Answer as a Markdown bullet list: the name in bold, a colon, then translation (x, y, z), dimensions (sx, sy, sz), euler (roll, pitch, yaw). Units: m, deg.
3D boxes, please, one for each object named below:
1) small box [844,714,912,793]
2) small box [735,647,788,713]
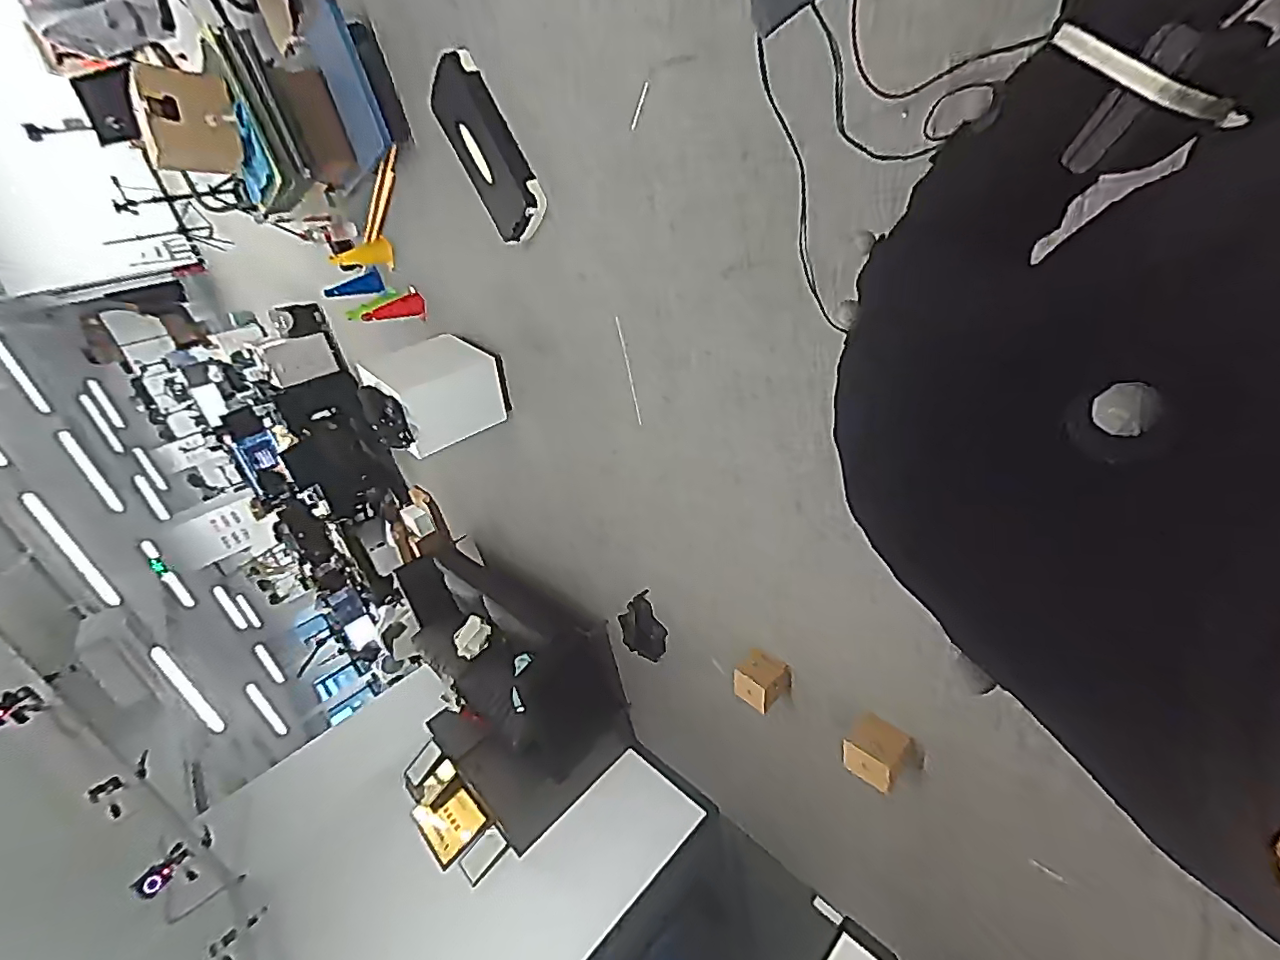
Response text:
- **small box**: translation (0.896, 1.022, 2.041), dimensions (0.179, 0.176, 0.168), euler (21, 131, 43)
- **small box**: translation (0.541, 0.882, 2.400), dimensions (0.168, 0.176, 0.179), euler (26, 136, 42)
